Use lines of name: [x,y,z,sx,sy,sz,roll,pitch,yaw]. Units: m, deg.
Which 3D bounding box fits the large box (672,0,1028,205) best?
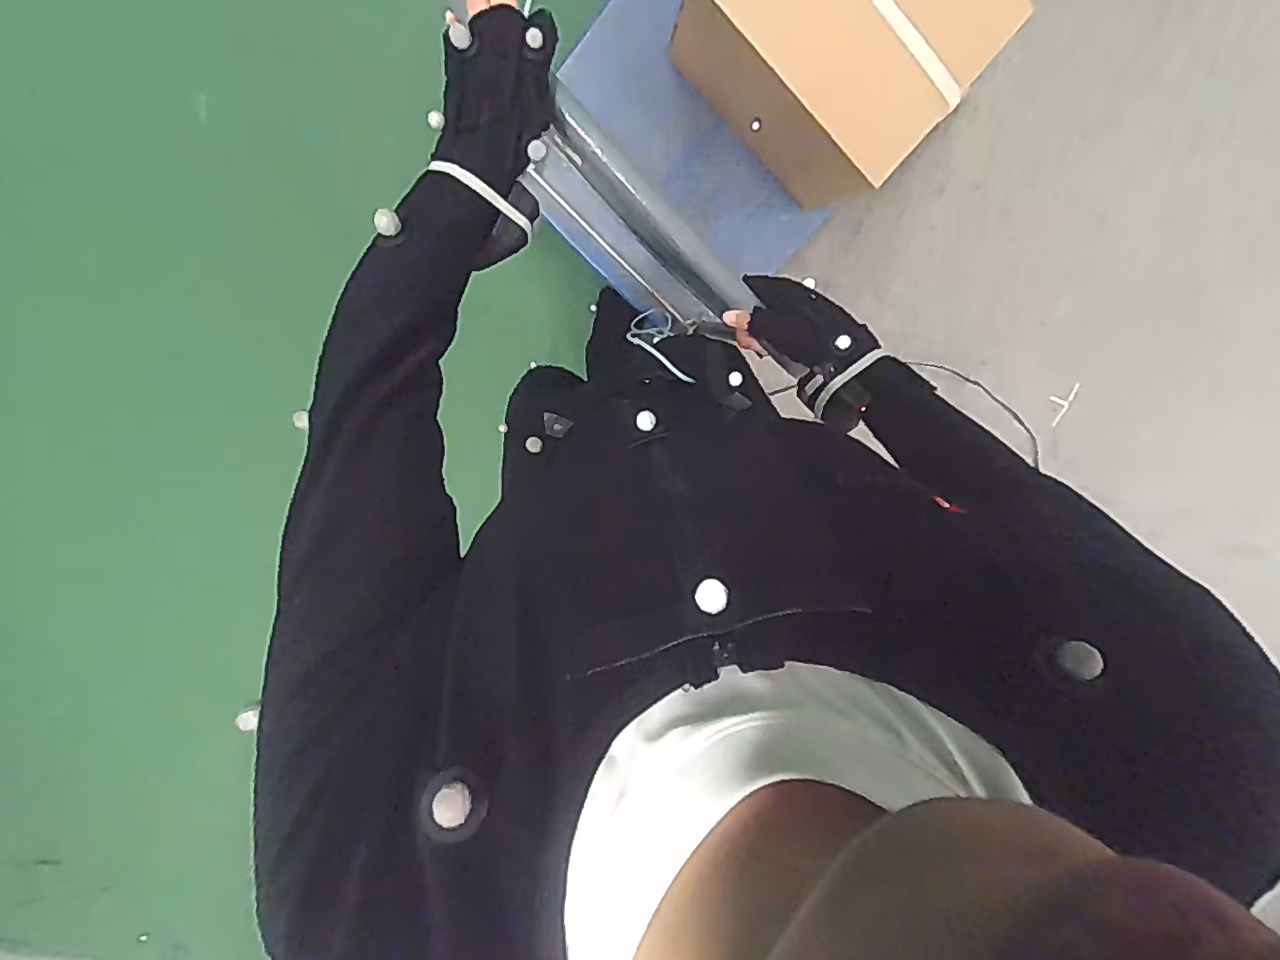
large box: [0.309,-0.741,0.903,0.408,0.320,0.320,39,103,-15]
